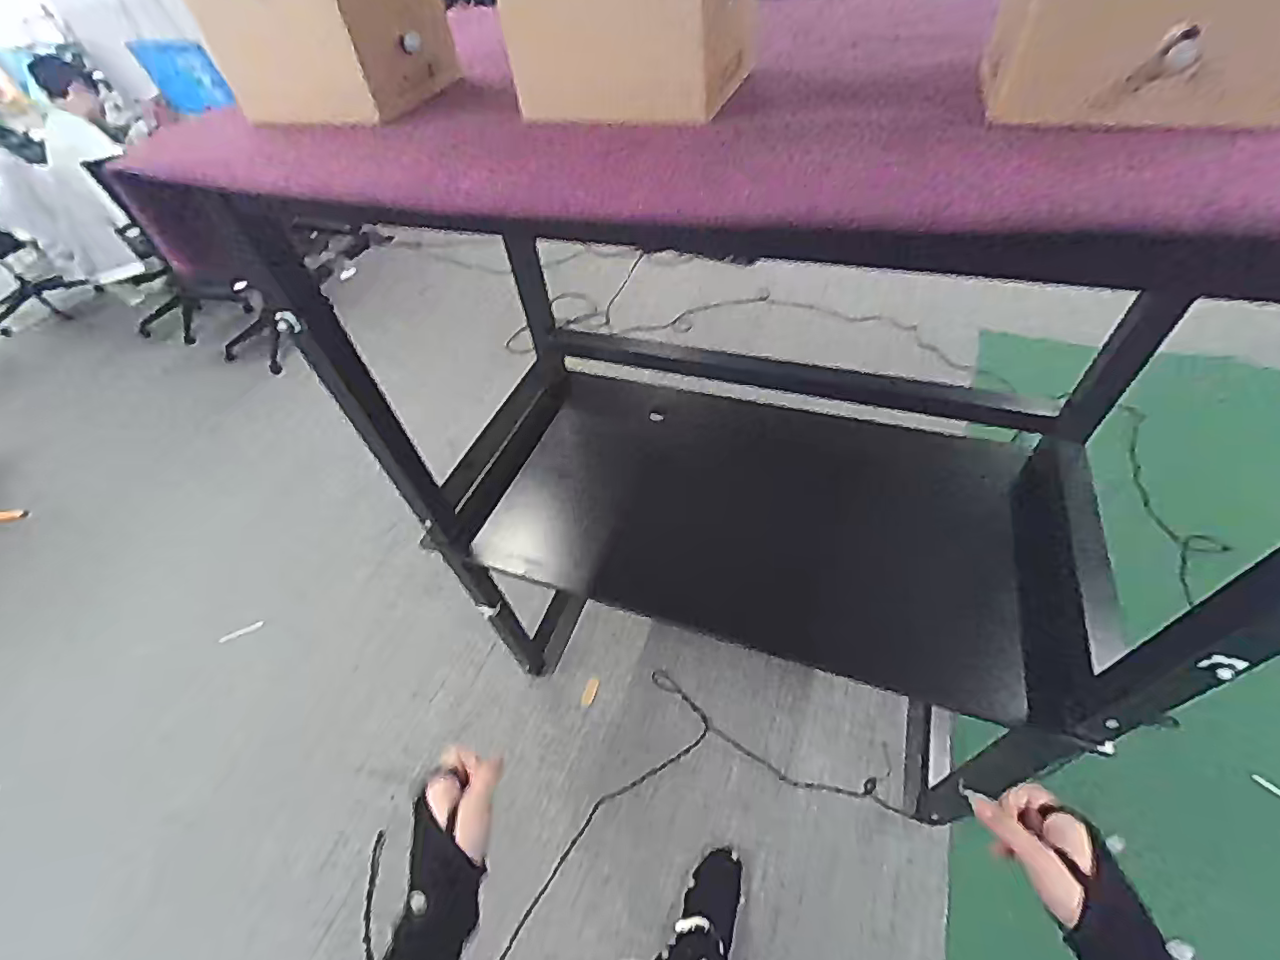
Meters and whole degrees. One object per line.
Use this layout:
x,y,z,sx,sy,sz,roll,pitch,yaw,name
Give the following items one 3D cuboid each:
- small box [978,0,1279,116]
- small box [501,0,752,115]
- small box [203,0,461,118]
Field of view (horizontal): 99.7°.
0.341,-0.347,0.339,0.179,0.176,0.168,13,51,18,small box
-0.005,-0.427,0.455,0.179,0.176,0.168,13,52,18,small box
-0.317,-0.488,0.549,0.179,0.176,0.168,11,52,15,small box
